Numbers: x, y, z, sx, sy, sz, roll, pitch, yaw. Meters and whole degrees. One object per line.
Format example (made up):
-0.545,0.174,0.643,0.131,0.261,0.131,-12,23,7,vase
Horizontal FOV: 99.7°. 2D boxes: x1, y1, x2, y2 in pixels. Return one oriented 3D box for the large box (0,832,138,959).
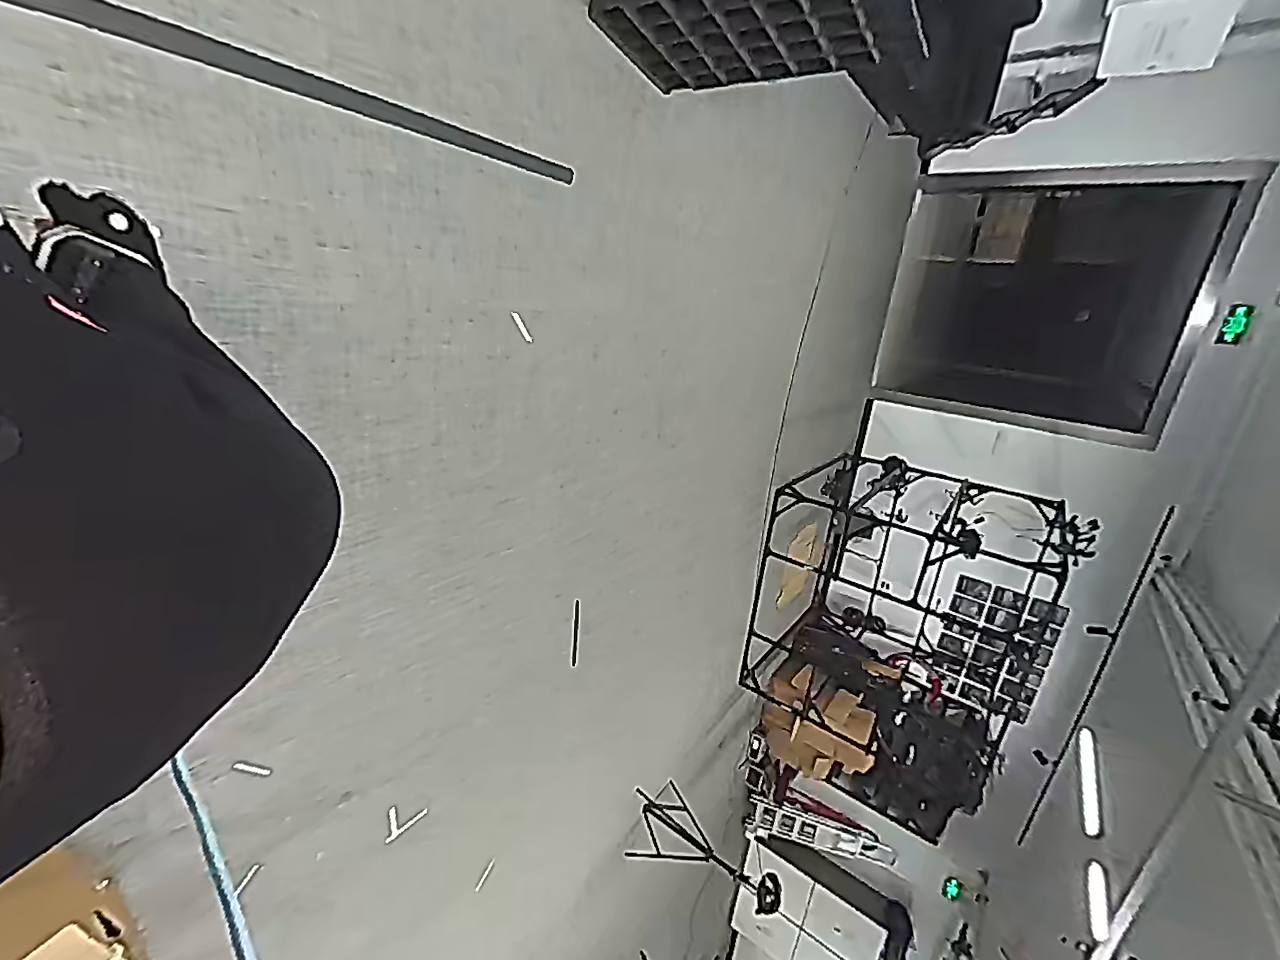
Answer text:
-1.331,1.019,1.056,0.408,0.320,0.320,-37,133,-41,large box
